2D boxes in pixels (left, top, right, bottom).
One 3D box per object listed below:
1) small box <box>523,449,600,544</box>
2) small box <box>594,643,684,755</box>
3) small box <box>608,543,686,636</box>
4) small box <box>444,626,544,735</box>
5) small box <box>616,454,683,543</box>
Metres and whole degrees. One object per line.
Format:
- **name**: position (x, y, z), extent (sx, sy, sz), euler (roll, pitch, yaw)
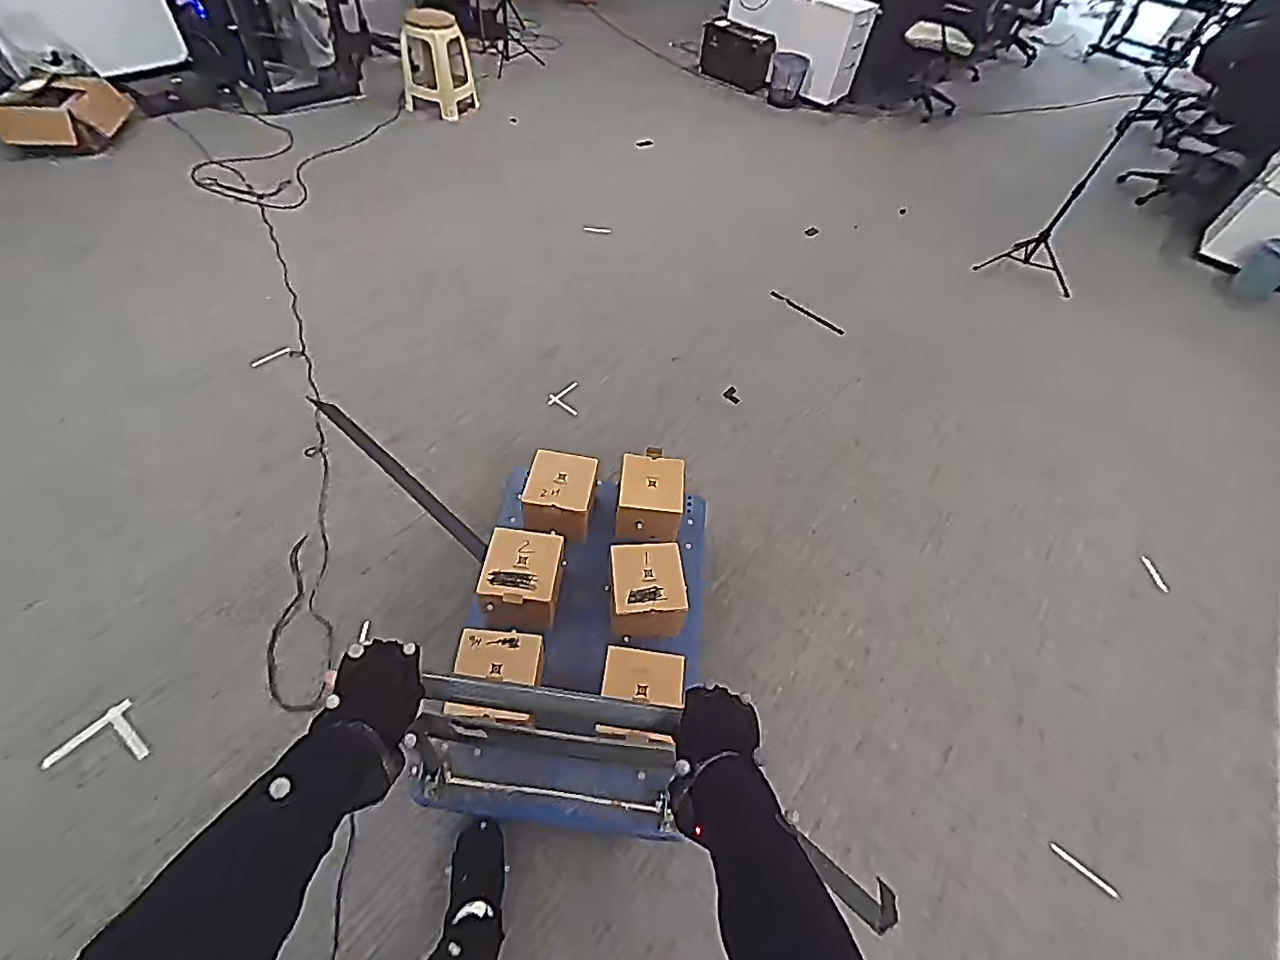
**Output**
- **small box**: position (-0.209, 0.046, 1.455), extent (0.168, 0.176, 0.179), euler (10, 53, 0)
- **small box**: position (-0.006, 0.477, 1.163), extent (0.168, 0.176, 0.179), euler (10, 52, -1)
- **small box**: position (0.010, 0.271, 1.318), extent (0.168, 0.176, 0.179), euler (-1, 53, -8)
- **small box**: position (-0.300, 0.432, 1.152), extent (0.168, 0.176, 0.179), euler (7, 53, -4)
- **small box**: position (0.024, 0.055, 1.483), extent (0.168, 0.176, 0.179), euler (6, 53, -3)
